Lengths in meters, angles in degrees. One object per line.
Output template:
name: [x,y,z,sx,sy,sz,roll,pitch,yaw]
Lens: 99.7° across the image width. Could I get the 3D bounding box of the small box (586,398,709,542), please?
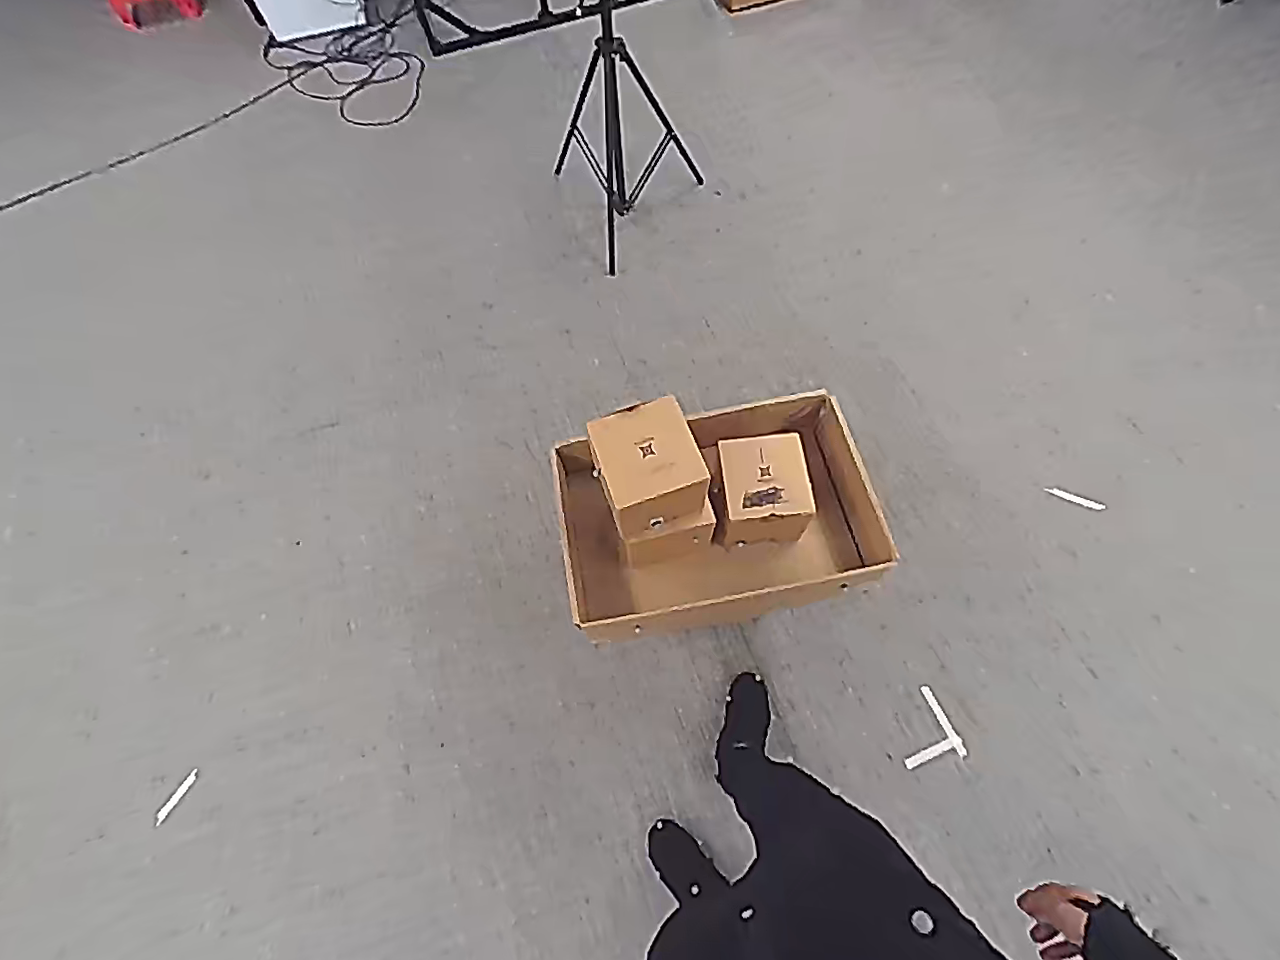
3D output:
small box: [0.012,-0.012,0.973,0.168,0.176,0.179,-19,66,-6]
